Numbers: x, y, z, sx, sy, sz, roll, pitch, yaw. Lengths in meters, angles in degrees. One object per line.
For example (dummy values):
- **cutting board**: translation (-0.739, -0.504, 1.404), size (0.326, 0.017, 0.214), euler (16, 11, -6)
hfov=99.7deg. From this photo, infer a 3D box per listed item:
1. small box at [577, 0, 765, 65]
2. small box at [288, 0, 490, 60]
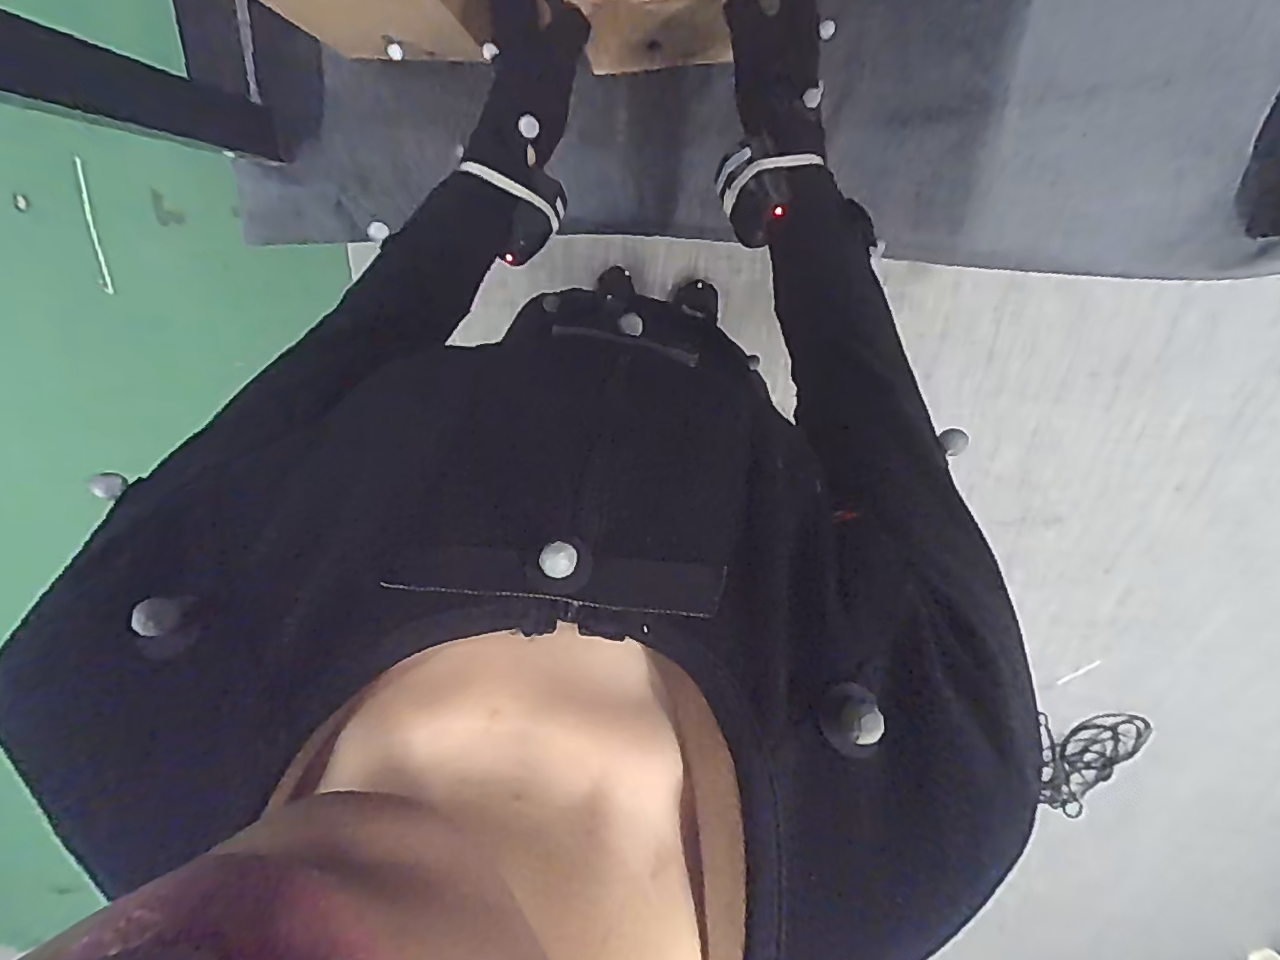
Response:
- **small box**: translation (0.022, -0.495, 0.463), size (0.168, 0.176, 0.179), euler (-3, 112, 5)
- **small box**: translation (-0.239, -0.507, 0.472), size (0.168, 0.176, 0.179), euler (4, 111, 3)
